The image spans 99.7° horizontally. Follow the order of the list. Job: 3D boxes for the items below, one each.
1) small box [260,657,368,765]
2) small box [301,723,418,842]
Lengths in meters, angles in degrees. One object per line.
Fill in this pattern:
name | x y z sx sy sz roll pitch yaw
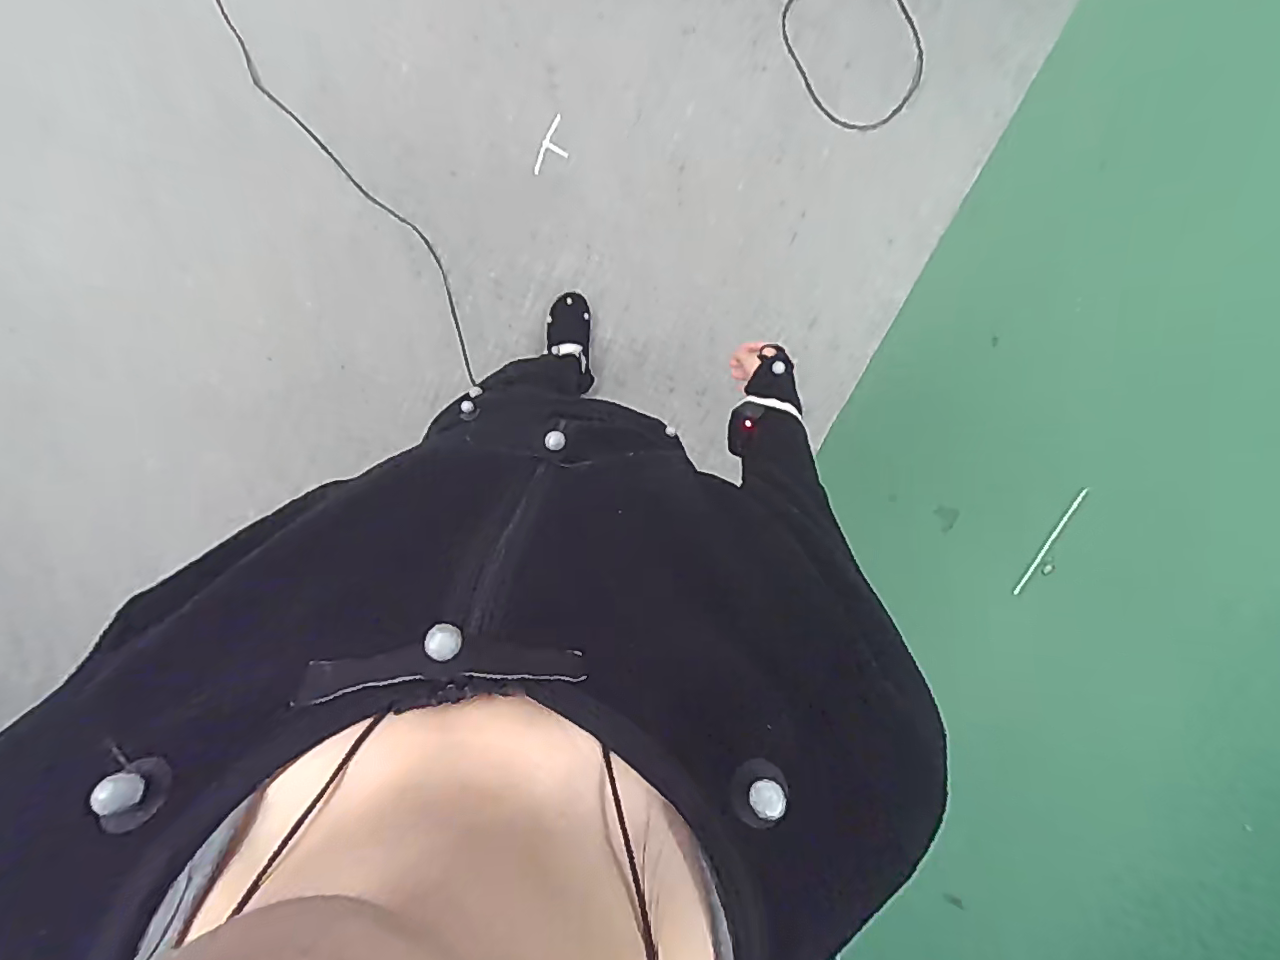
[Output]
small box | -0.873 0.619 1.465 0.168 0.176 0.179 28 99 -10
small box | -0.683 0.736 1.334 0.179 0.176 0.168 24 99 -8
